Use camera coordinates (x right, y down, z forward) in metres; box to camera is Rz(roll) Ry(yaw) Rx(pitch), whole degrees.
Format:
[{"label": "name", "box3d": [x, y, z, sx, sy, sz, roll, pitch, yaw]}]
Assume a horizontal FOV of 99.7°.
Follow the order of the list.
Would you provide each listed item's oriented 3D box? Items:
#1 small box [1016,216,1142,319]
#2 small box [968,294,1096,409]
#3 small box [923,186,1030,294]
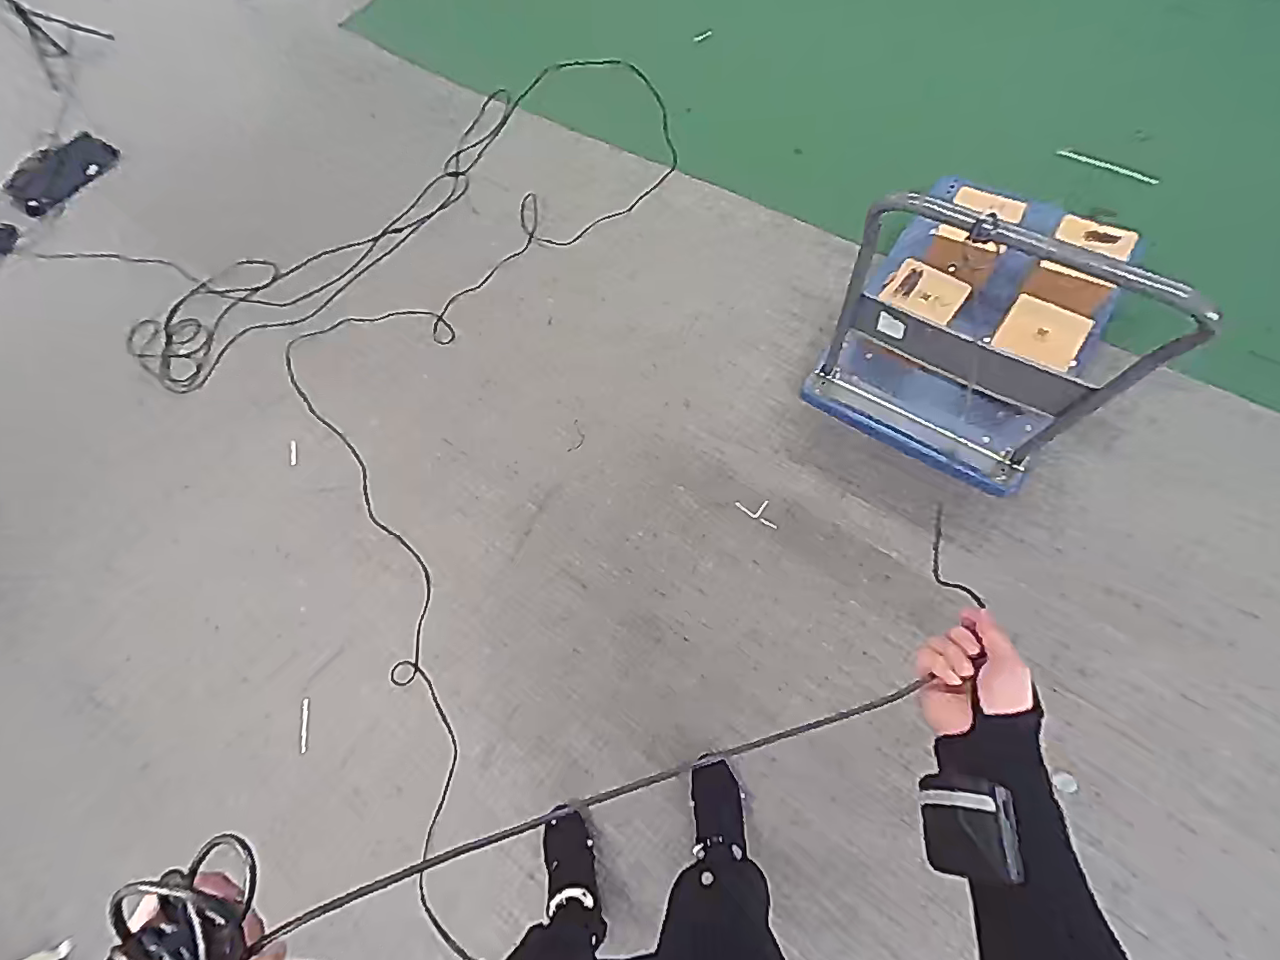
[{"label": "small box", "box3d": [1.098, -0.521, 1.369, 0.168, 0.176, 0.179, 29, 78, 18]}, {"label": "small box", "box3d": [0.941, -0.307, 1.318, 0.168, 0.176, 0.179, 34, 79, 19]}, {"label": "small box", "box3d": [0.887, -0.634, 1.445, 0.168, 0.176, 0.179, 29, 77, 17]}]
